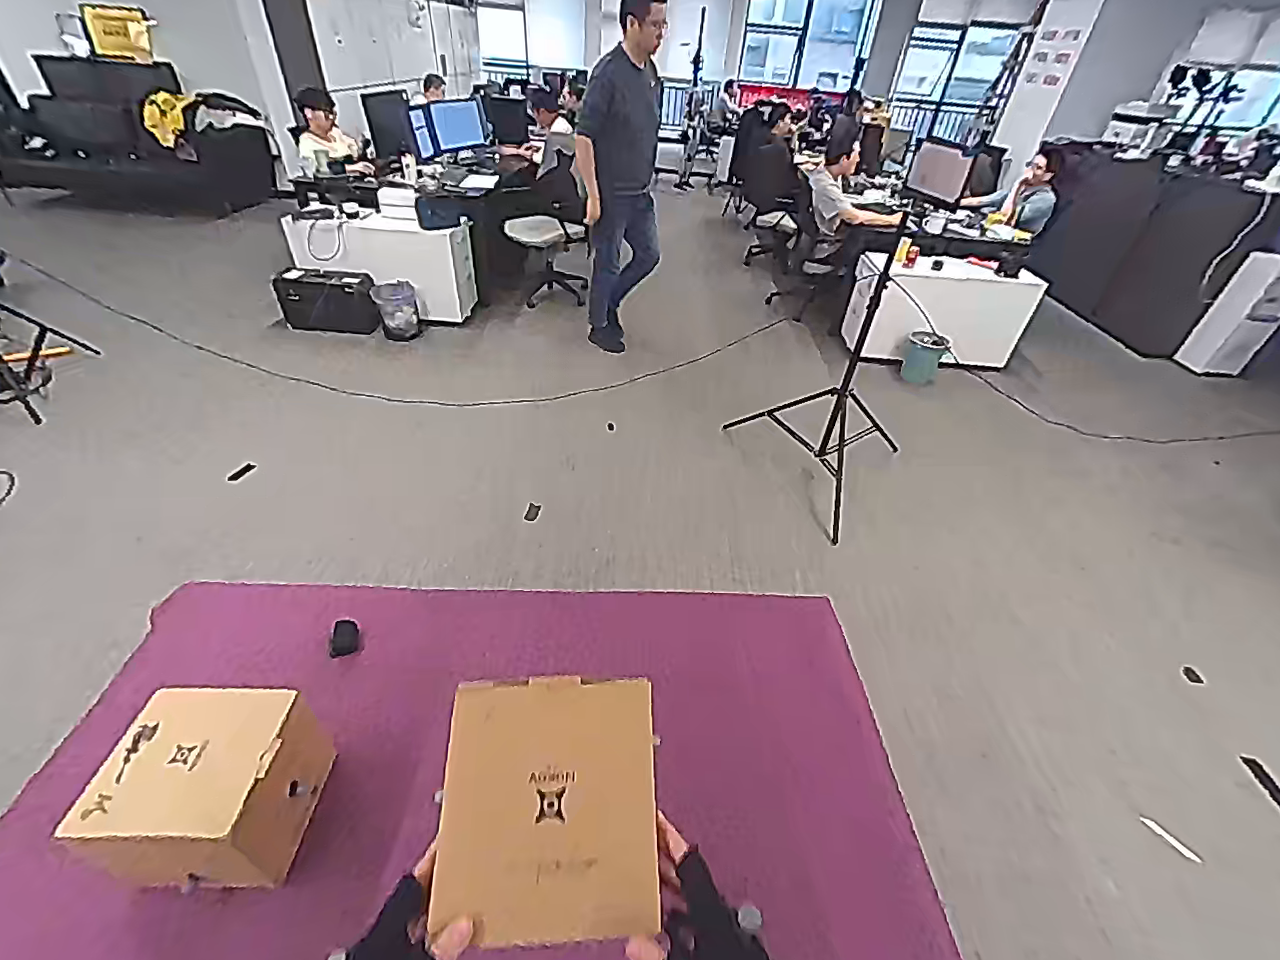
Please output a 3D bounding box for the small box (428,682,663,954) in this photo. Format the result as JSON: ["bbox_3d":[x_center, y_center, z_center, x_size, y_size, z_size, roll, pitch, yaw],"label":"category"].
[{"bbox_3d":[-0.075,0.290,0.485,0.168,0.176,0.179,1,60,-6],"label":"small box"}]

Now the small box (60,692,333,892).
[{"bbox_3d":[-0.513,0.383,0.666,0.179,0.176,0.168,3,38,-4],"label":"small box"}]
